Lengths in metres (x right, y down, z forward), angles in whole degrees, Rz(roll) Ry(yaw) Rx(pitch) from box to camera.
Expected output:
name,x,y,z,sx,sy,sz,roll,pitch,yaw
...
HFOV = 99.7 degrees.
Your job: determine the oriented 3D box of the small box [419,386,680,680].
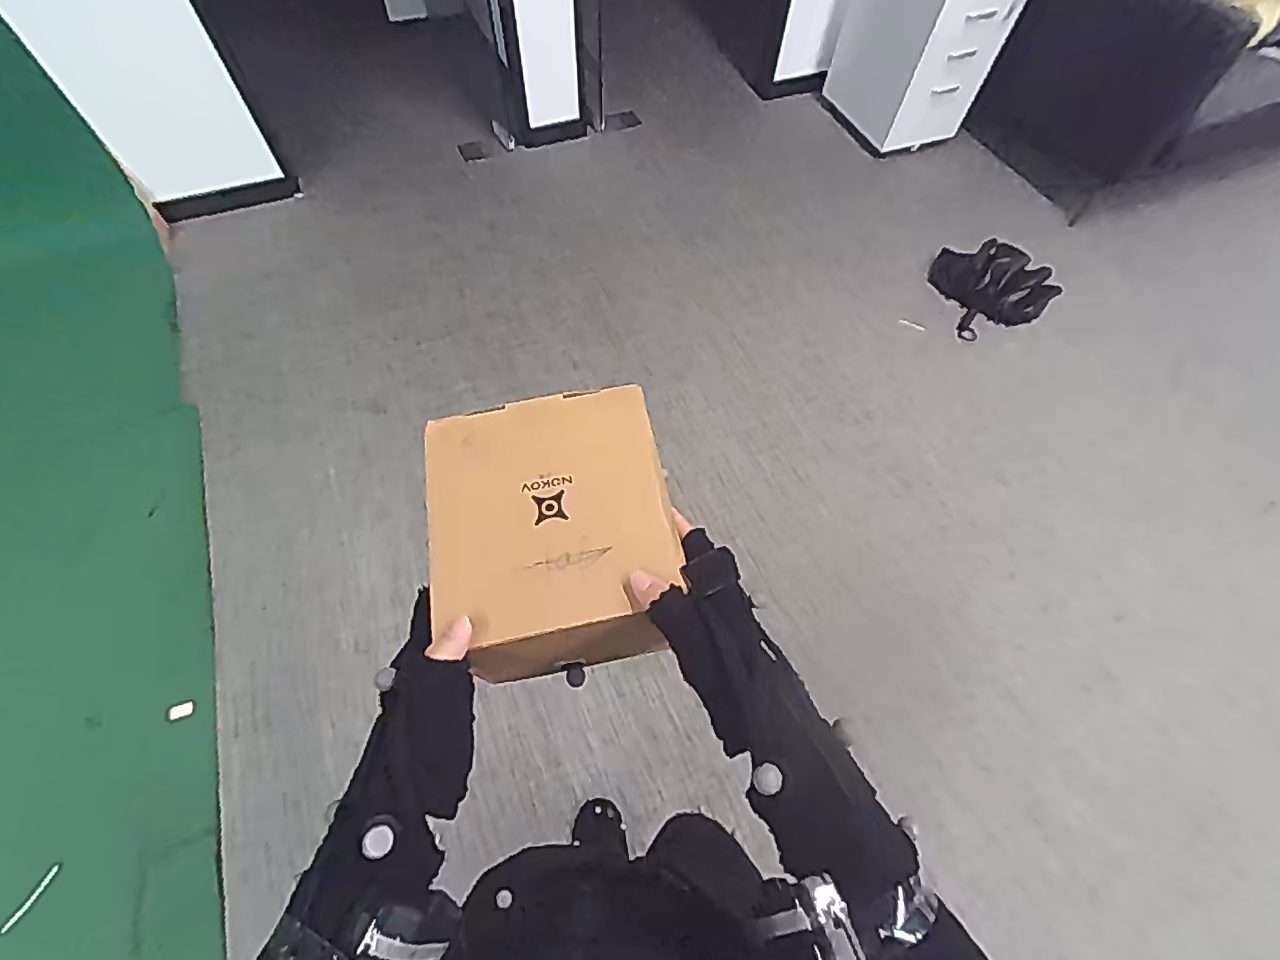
name,x,y,z,sx,sy,sz,roll,pitch,yaw
small box,-0.069,0.052,0.445,0.168,0.176,0.179,-11,64,-4
